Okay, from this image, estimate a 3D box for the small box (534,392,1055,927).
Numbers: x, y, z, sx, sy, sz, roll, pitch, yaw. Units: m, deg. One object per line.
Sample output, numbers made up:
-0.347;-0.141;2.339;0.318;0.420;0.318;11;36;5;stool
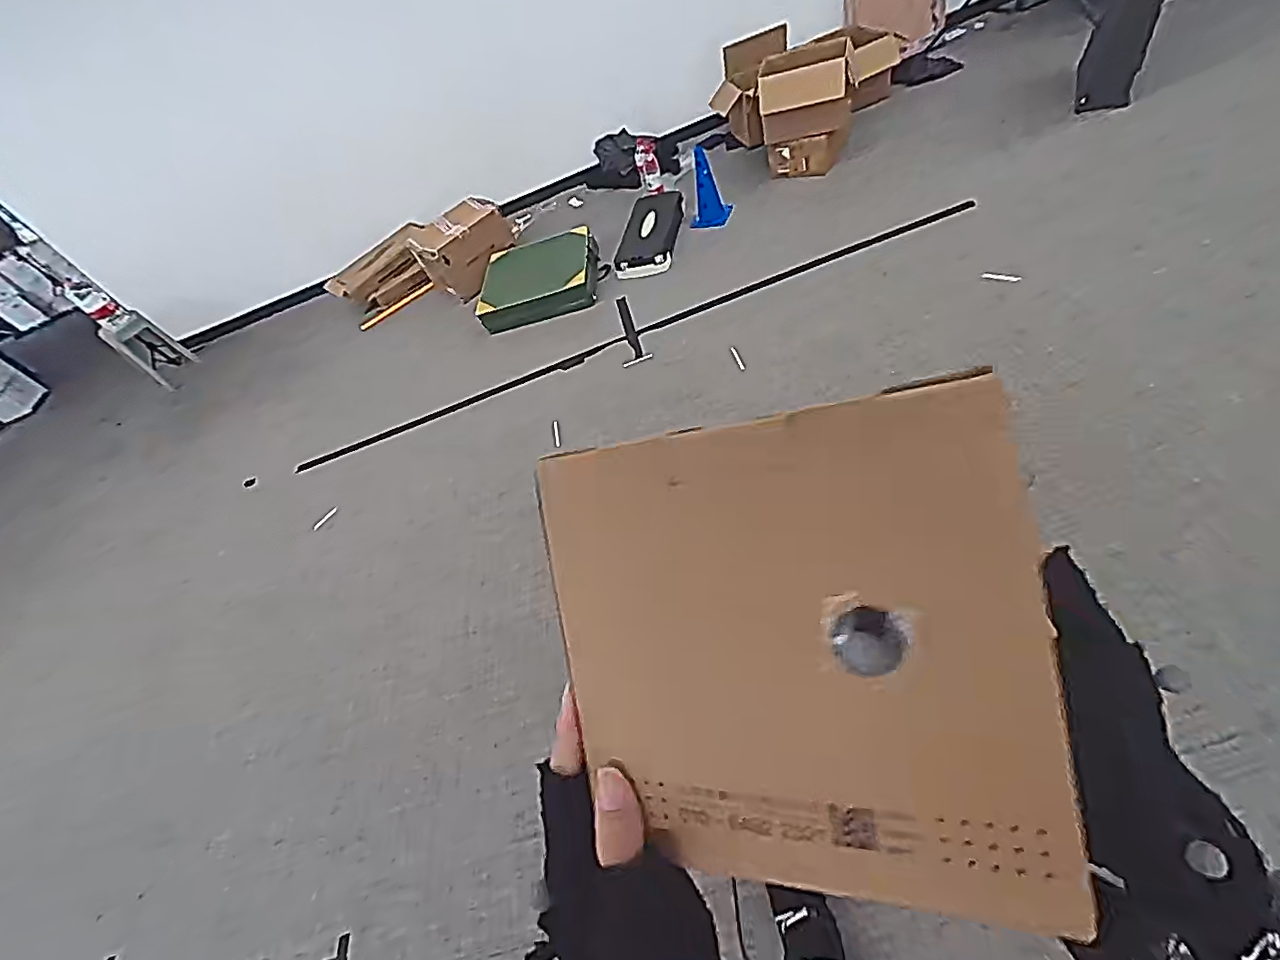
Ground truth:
0.079;0.060;0.266;0.168;0.179;0.176;-9;92;30;small box
